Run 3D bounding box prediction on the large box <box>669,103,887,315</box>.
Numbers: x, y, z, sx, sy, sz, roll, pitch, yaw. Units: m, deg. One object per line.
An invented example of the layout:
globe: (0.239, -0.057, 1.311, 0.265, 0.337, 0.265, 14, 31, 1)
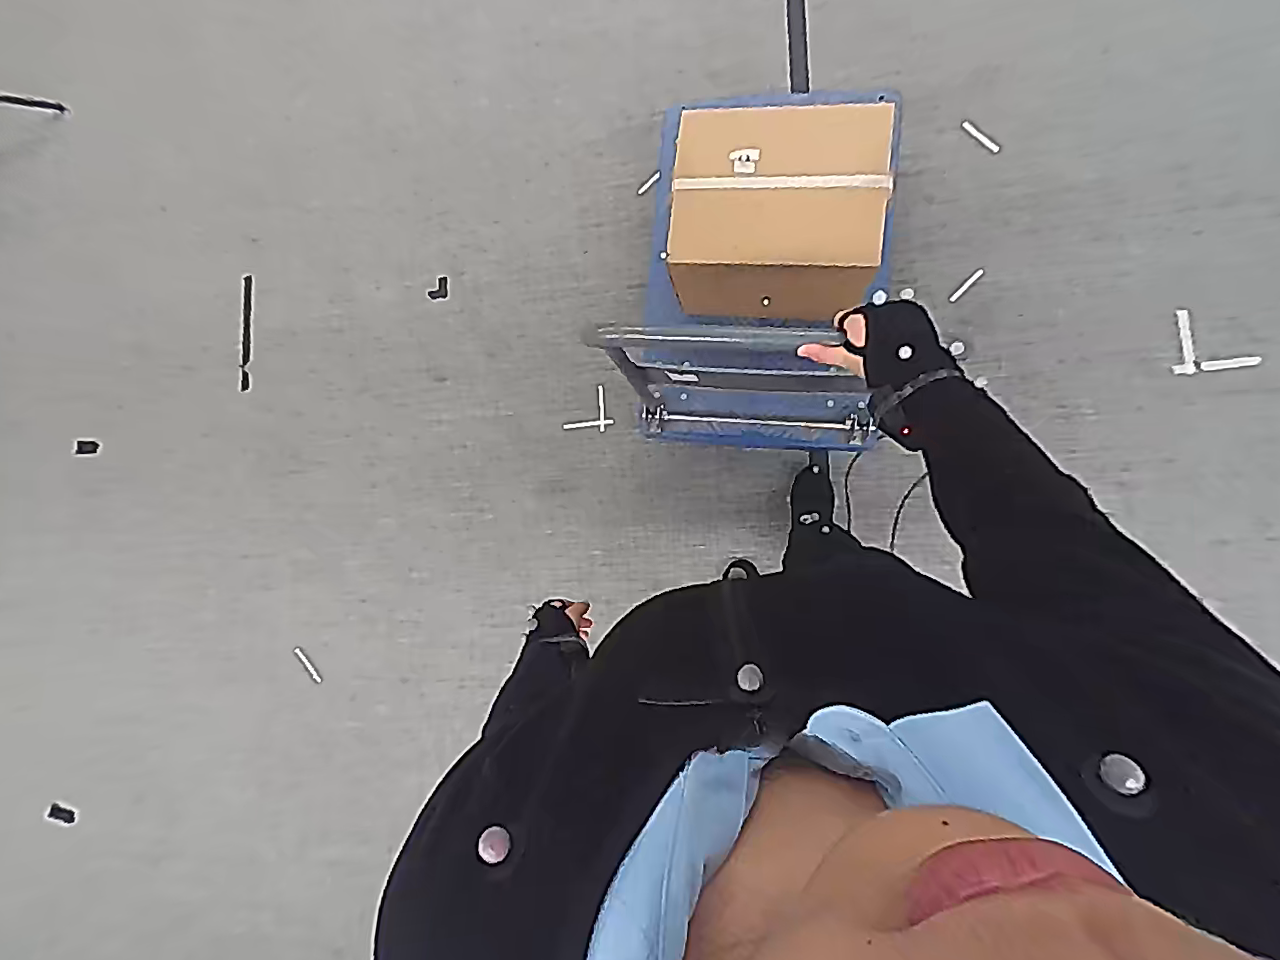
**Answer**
large box: (0.296, -0.566, 1.202, 0.408, 0.320, 0.320, 5, 87, 13)
